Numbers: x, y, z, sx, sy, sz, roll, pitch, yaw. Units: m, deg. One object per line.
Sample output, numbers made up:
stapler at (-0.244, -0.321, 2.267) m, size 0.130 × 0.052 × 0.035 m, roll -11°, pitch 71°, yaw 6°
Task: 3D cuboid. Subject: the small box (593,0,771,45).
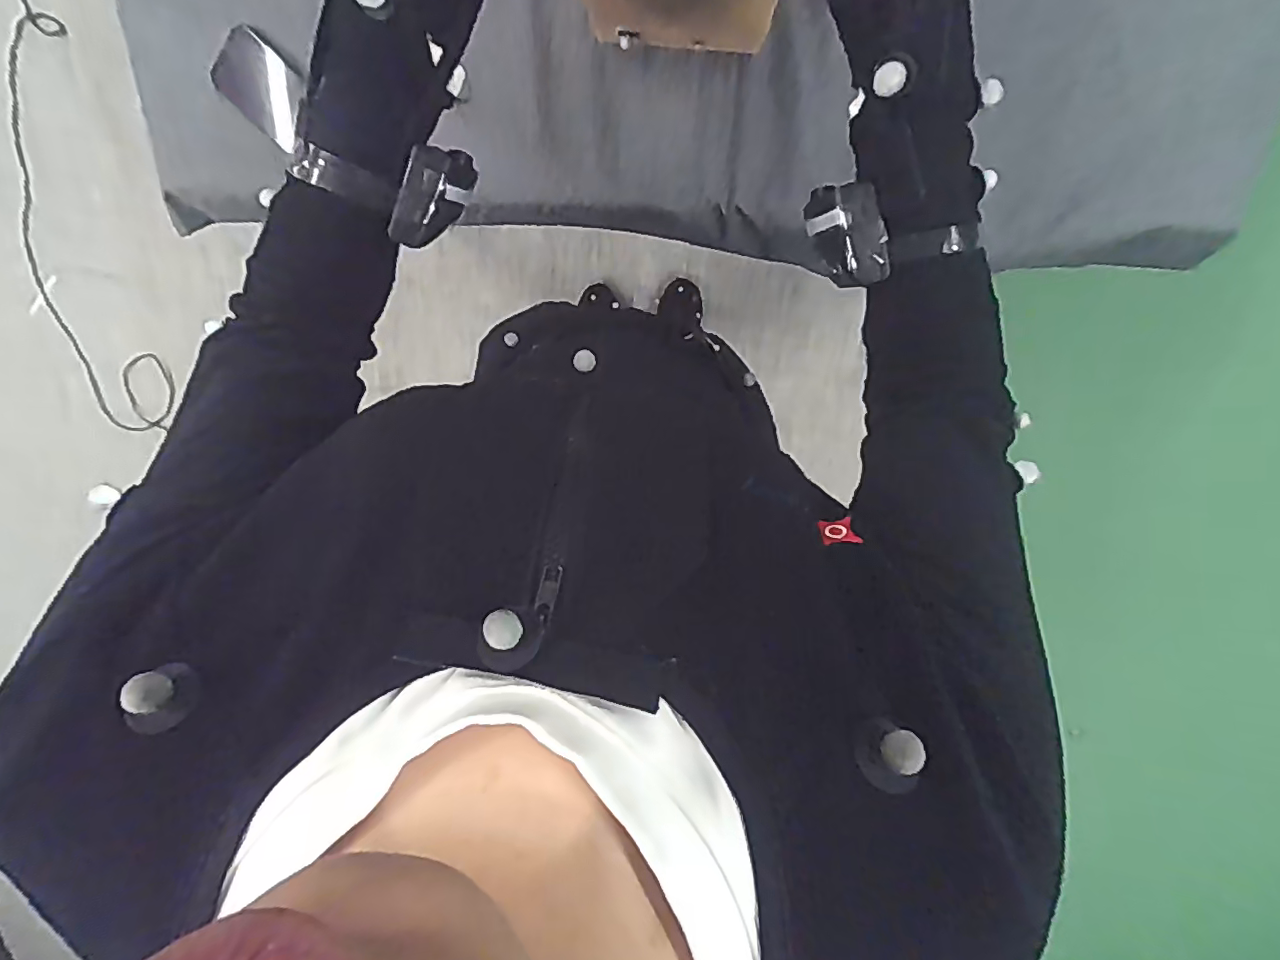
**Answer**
small box at (0.041, -0.496, 0.445) m, size 0.168 × 0.176 × 0.179 m, roll 6°, pitch 110°, yaw 1°
